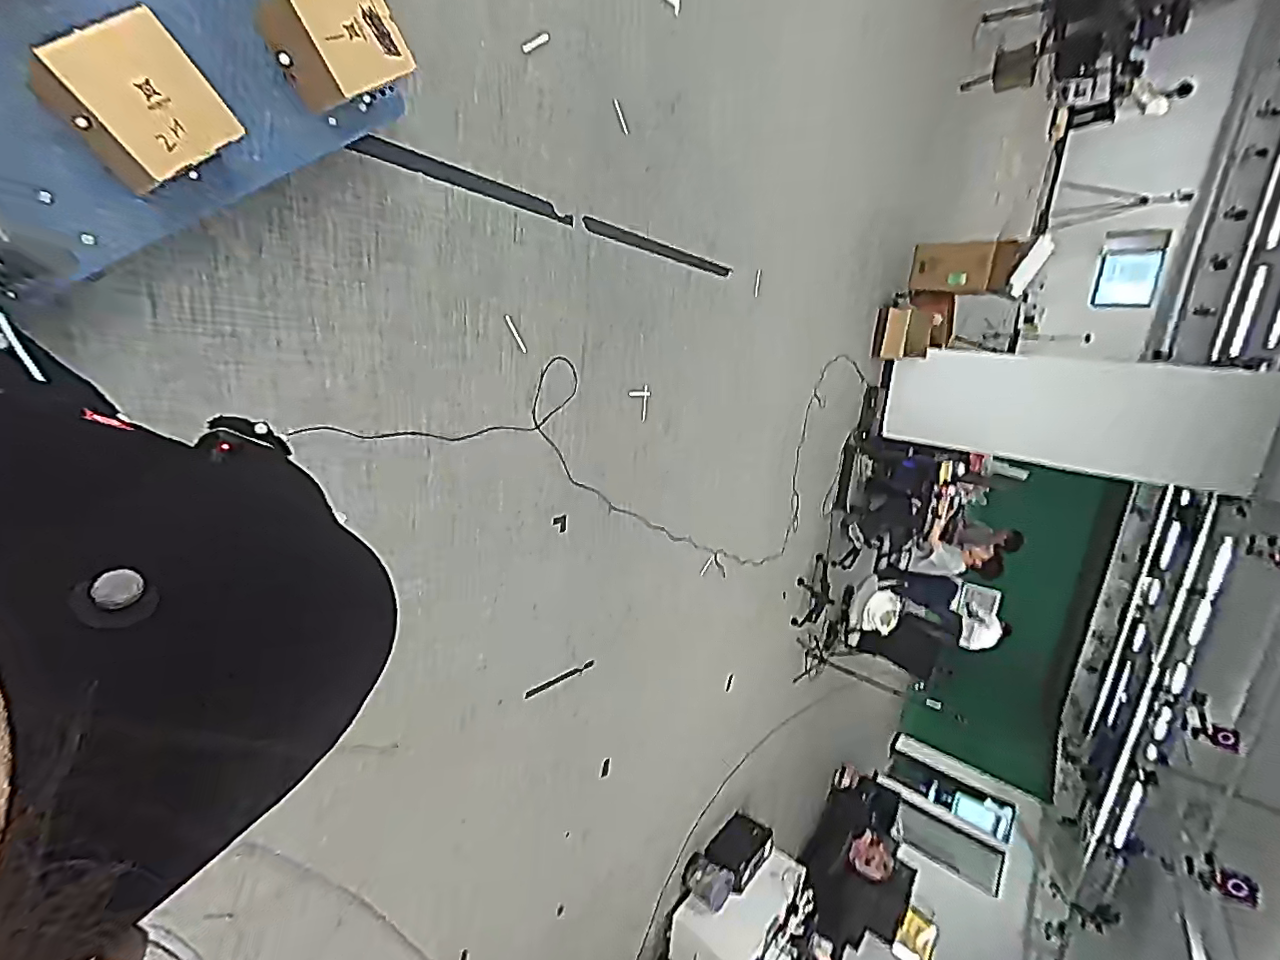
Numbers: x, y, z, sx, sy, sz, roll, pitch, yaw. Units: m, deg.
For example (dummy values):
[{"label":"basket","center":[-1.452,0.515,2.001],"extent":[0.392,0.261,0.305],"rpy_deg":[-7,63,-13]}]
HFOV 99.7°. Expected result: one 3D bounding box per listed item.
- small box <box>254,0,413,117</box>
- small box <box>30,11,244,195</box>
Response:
[{"label":"small box","center":[-0.582,-0.825,1.030],"extent":[0.179,0.176,0.168],"rpy_deg":[-50,136,-28]},{"label":"small box","center":[-0.789,-0.580,0.850],"extent":[0.168,0.176,0.179],"rpy_deg":[-54,138,-25]}]
